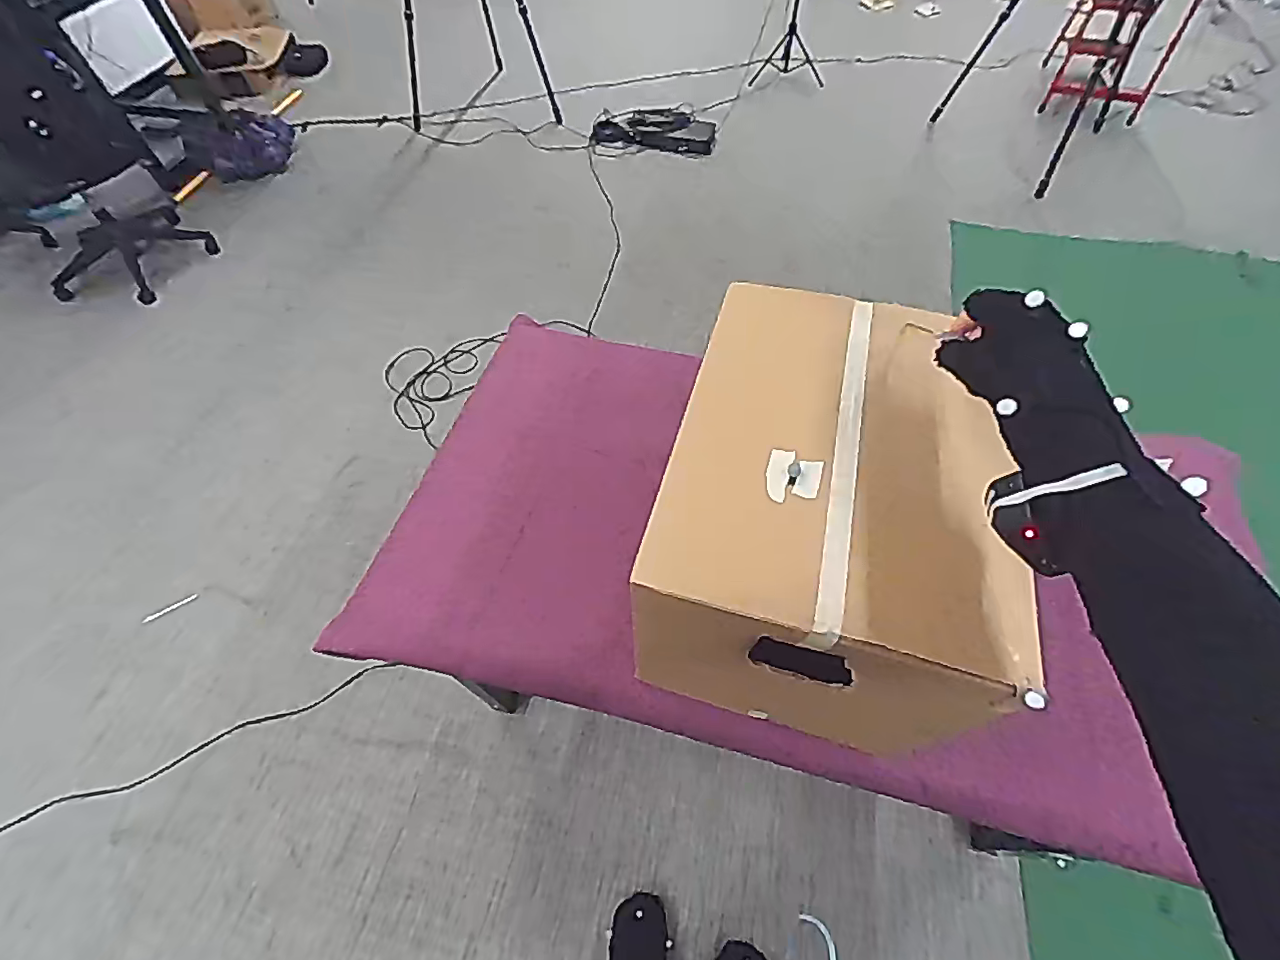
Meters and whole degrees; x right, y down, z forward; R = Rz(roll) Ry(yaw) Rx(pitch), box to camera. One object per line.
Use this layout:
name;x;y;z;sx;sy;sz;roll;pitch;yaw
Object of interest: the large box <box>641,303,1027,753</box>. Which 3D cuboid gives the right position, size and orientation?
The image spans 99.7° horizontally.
large box;0.201;0.057;0.658;0.320;0.320;0.408;14;58;11
